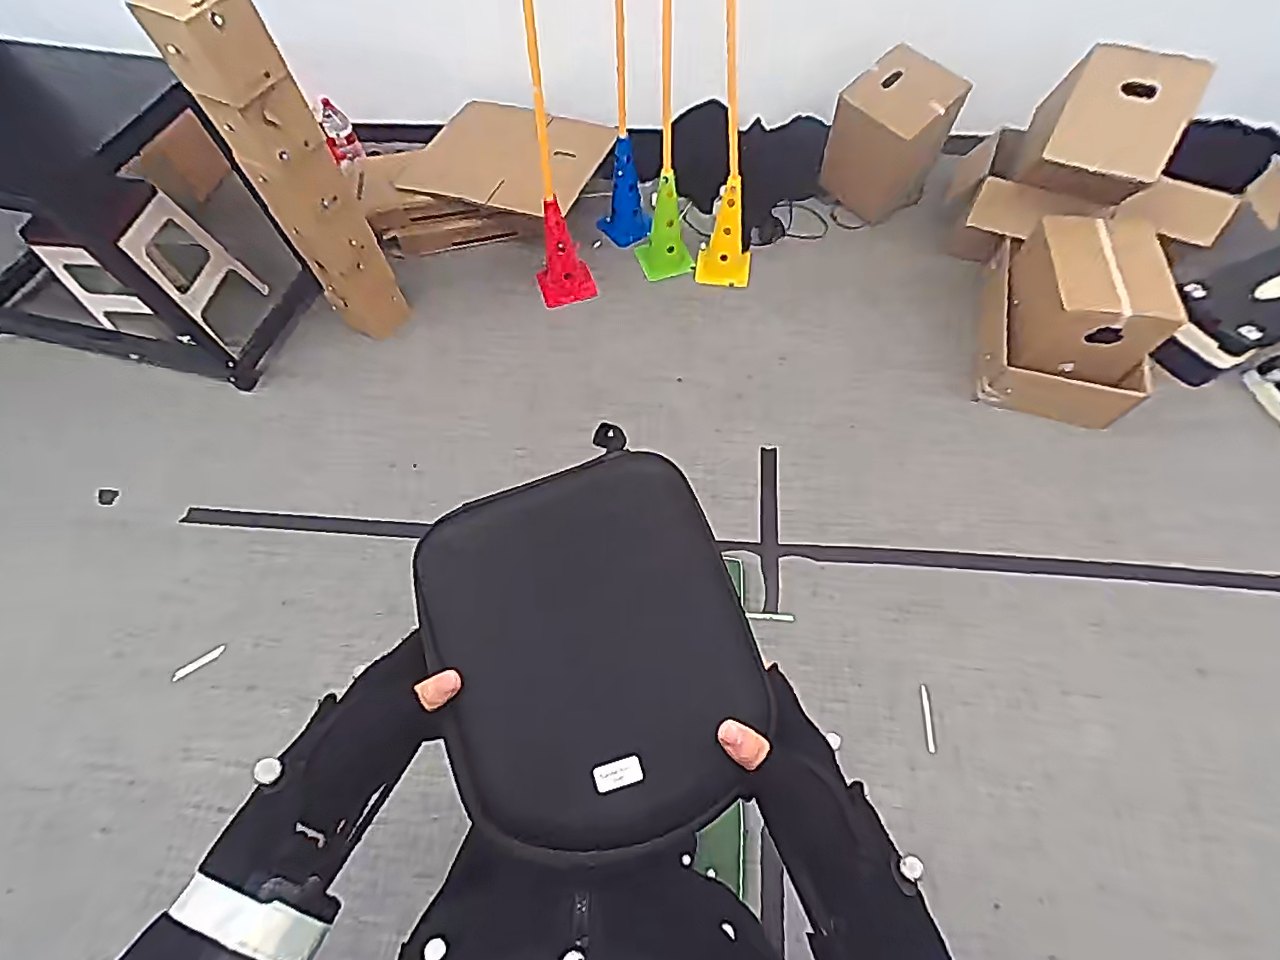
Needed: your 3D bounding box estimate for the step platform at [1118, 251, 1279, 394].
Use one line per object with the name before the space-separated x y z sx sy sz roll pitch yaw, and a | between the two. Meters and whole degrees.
step platform | 2.014 -0.542 1.811 0.684 0.204 0.286 -22 64 -10
